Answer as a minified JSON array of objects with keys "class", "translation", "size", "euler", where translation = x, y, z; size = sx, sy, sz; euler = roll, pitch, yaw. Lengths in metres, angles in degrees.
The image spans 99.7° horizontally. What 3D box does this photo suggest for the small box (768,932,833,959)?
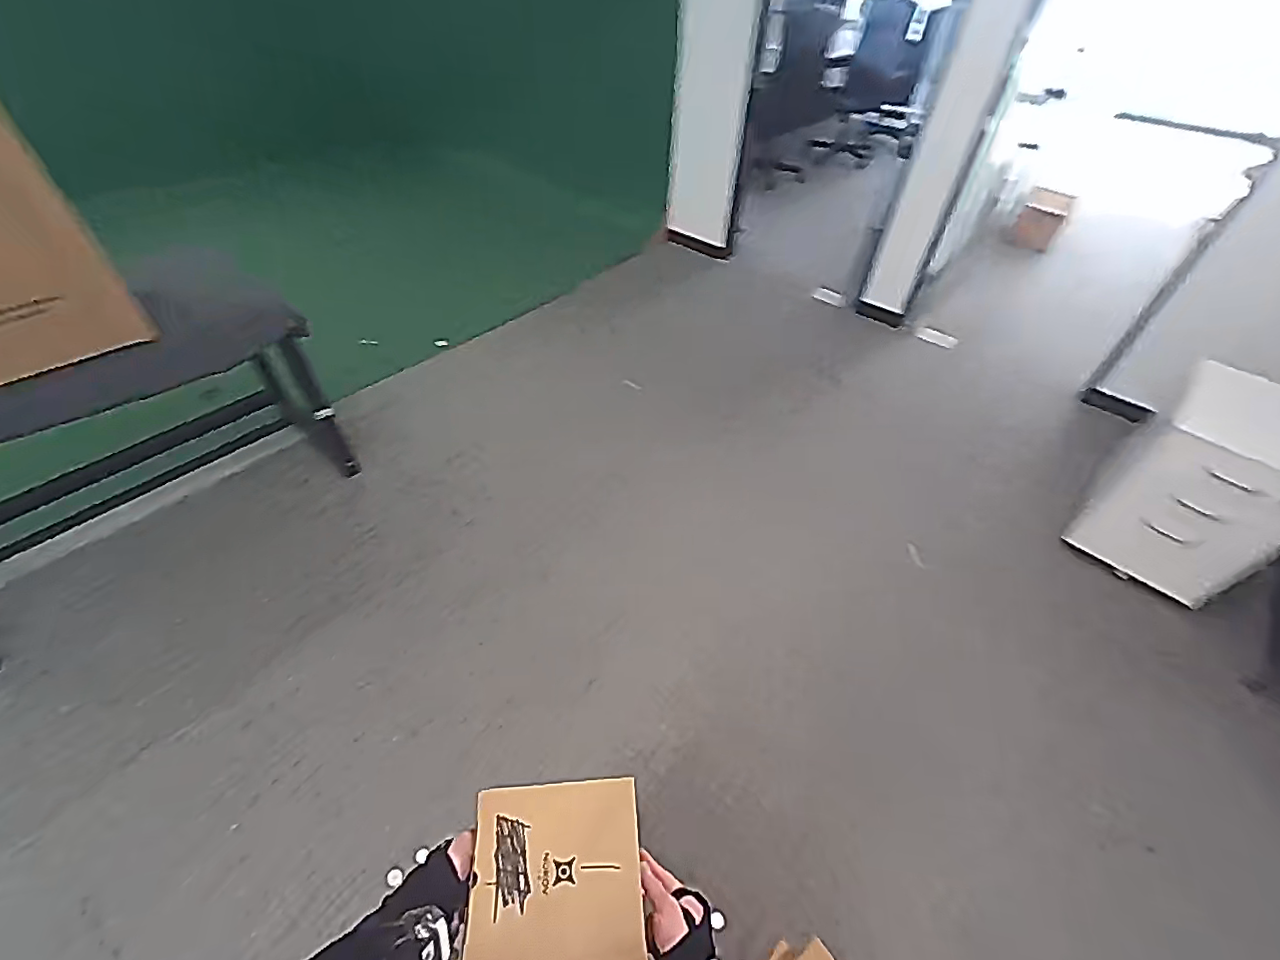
[{"class":"small box","translation":[0.286,0.959,0.960],"size":[0.179,0.176,0.168],"euler":[-25,55,-26]}]
